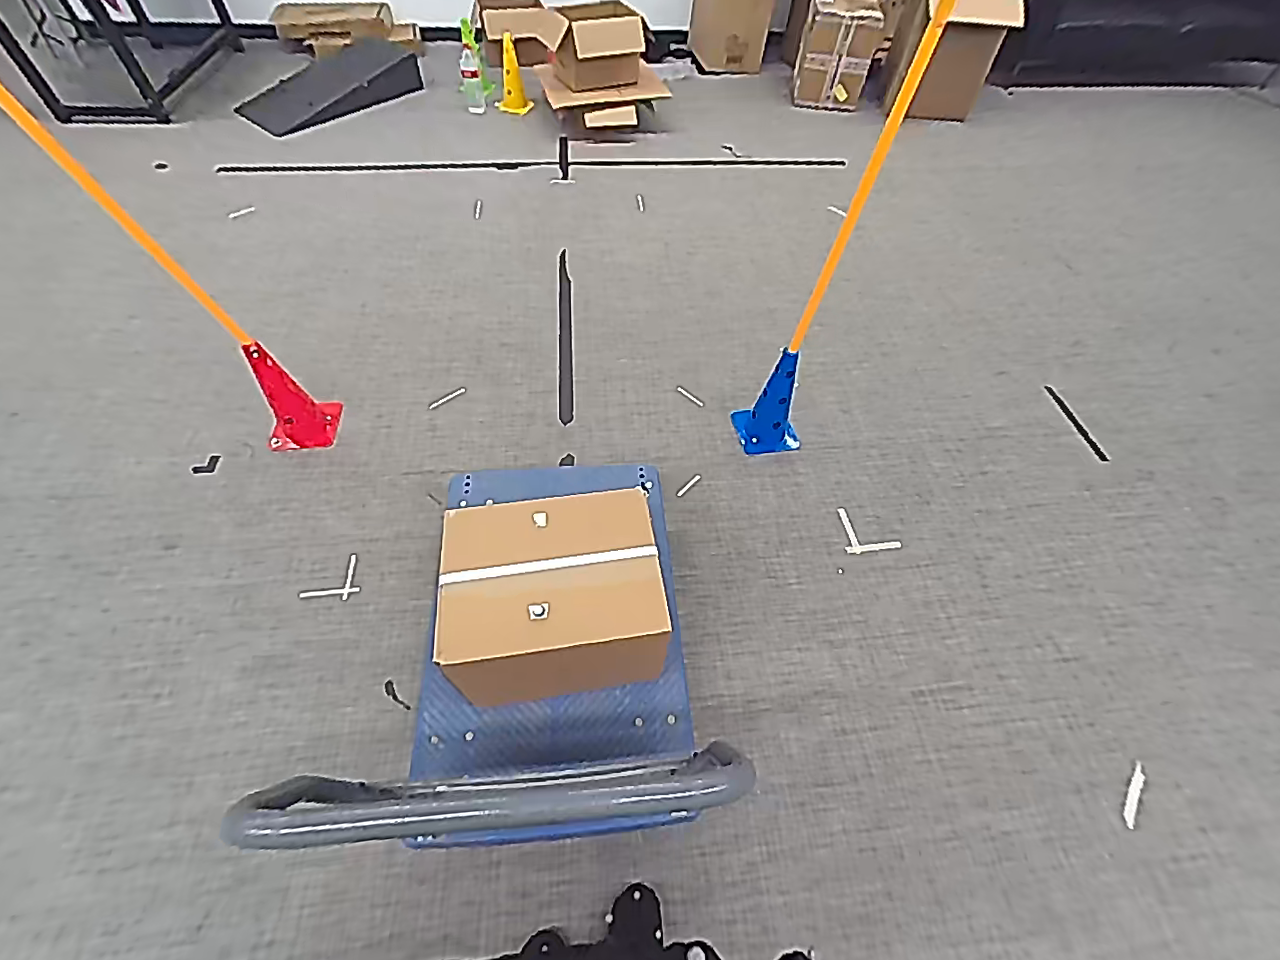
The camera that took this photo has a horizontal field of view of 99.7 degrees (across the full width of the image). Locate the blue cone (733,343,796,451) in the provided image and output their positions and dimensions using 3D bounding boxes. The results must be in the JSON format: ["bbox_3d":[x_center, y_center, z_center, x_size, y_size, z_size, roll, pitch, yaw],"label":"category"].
[{"bbox_3d":[0.439,-0.275,1.744,0.193,0.380,0.192,-6,54,-8],"label":"blue cone"}]
